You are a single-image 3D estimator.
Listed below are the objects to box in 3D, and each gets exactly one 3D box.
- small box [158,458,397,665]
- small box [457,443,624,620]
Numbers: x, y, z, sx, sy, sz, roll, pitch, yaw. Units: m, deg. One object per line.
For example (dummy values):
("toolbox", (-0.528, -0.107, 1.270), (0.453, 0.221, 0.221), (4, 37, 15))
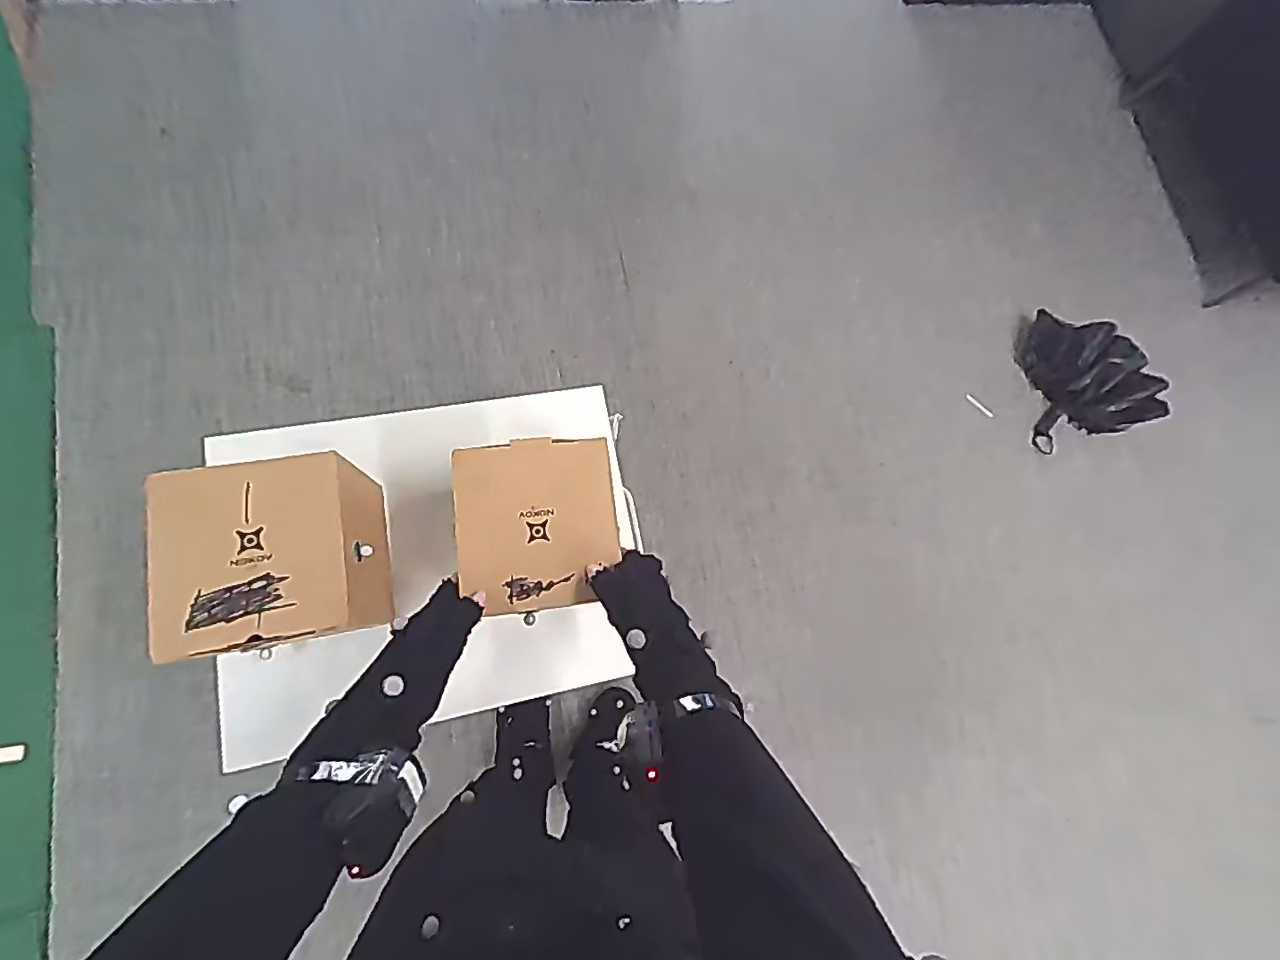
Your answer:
("small box", (-0.379, 0.090, 0.594), (0.168, 0.176, 0.179), (-9, 78, -12))
("small box", (-0.117, 0.068, 0.642), (0.168, 0.176, 0.179), (-5, 77, -9))
